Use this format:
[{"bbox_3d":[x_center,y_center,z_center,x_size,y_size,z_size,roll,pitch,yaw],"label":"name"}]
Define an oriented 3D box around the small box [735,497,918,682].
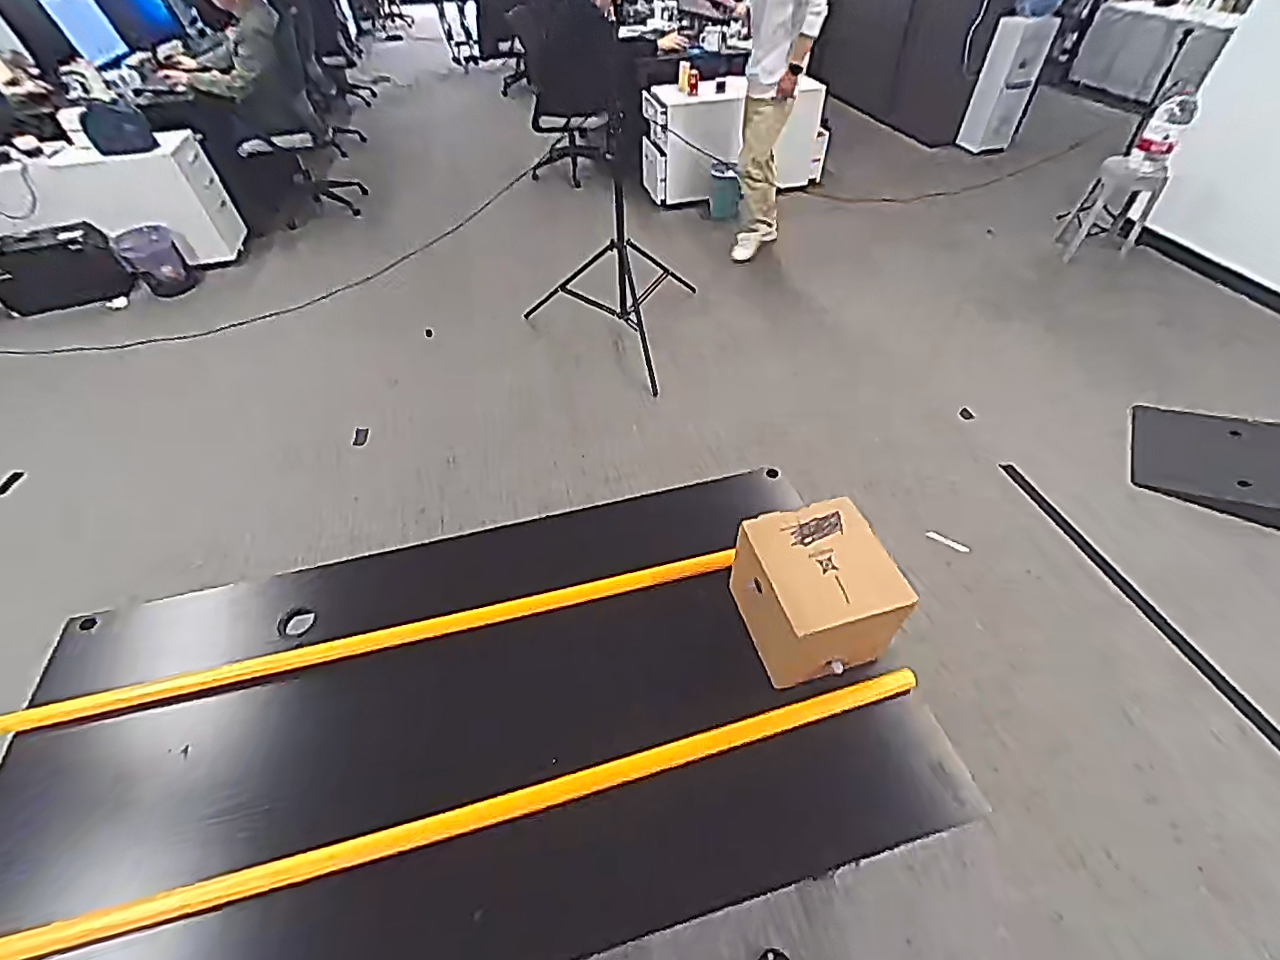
[{"bbox_3d":[0.244,0.155,0.764,0.168,0.176,0.179,-13,49,-8],"label":"small box"}]
